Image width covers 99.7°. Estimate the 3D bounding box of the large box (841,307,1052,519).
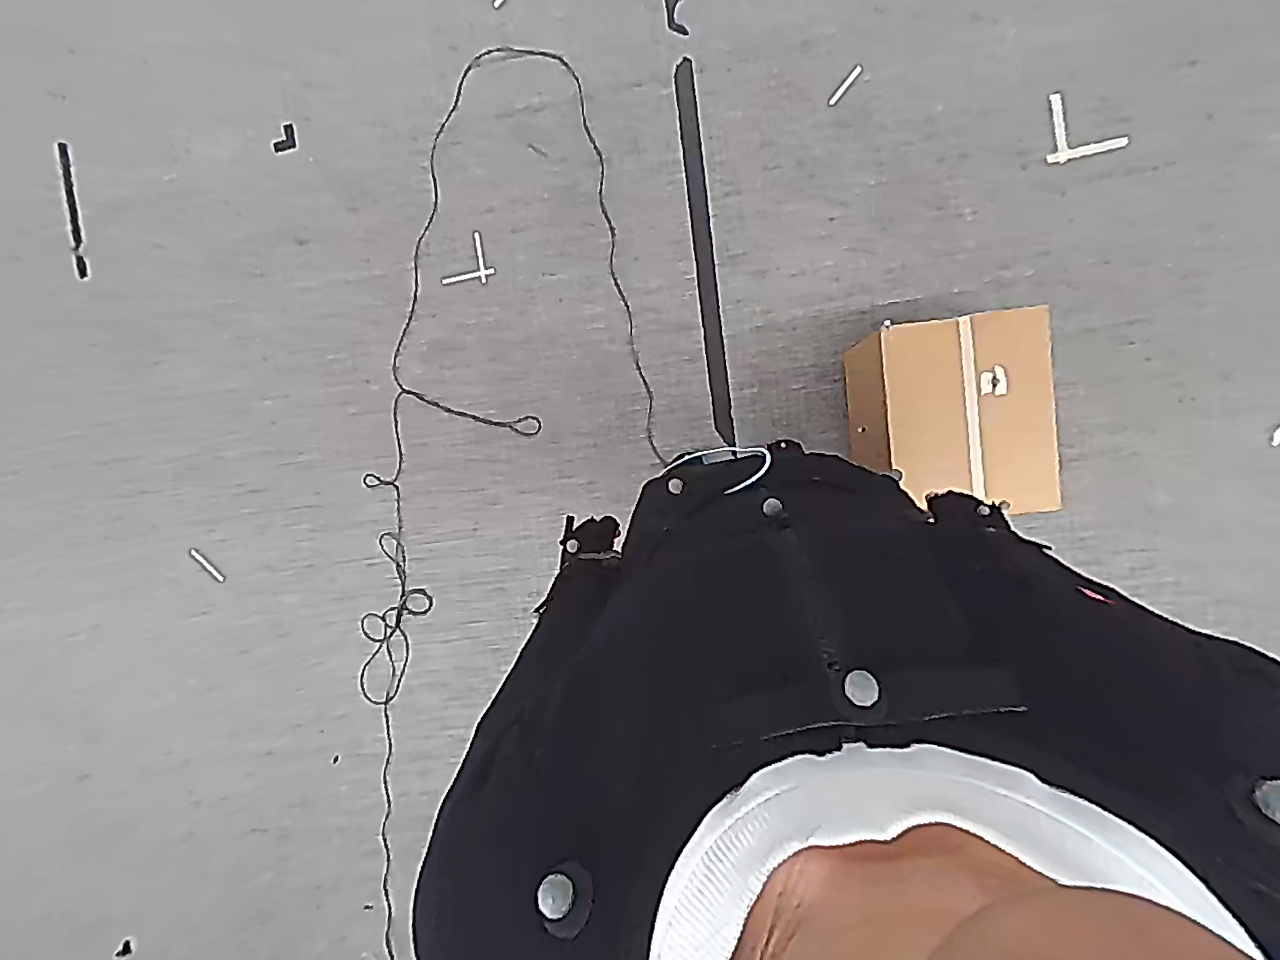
[{"bbox_3d":[0.672,-0.137,1.243,0.320,0.320,0.408,-6,92,6],"label":"large box"}]
